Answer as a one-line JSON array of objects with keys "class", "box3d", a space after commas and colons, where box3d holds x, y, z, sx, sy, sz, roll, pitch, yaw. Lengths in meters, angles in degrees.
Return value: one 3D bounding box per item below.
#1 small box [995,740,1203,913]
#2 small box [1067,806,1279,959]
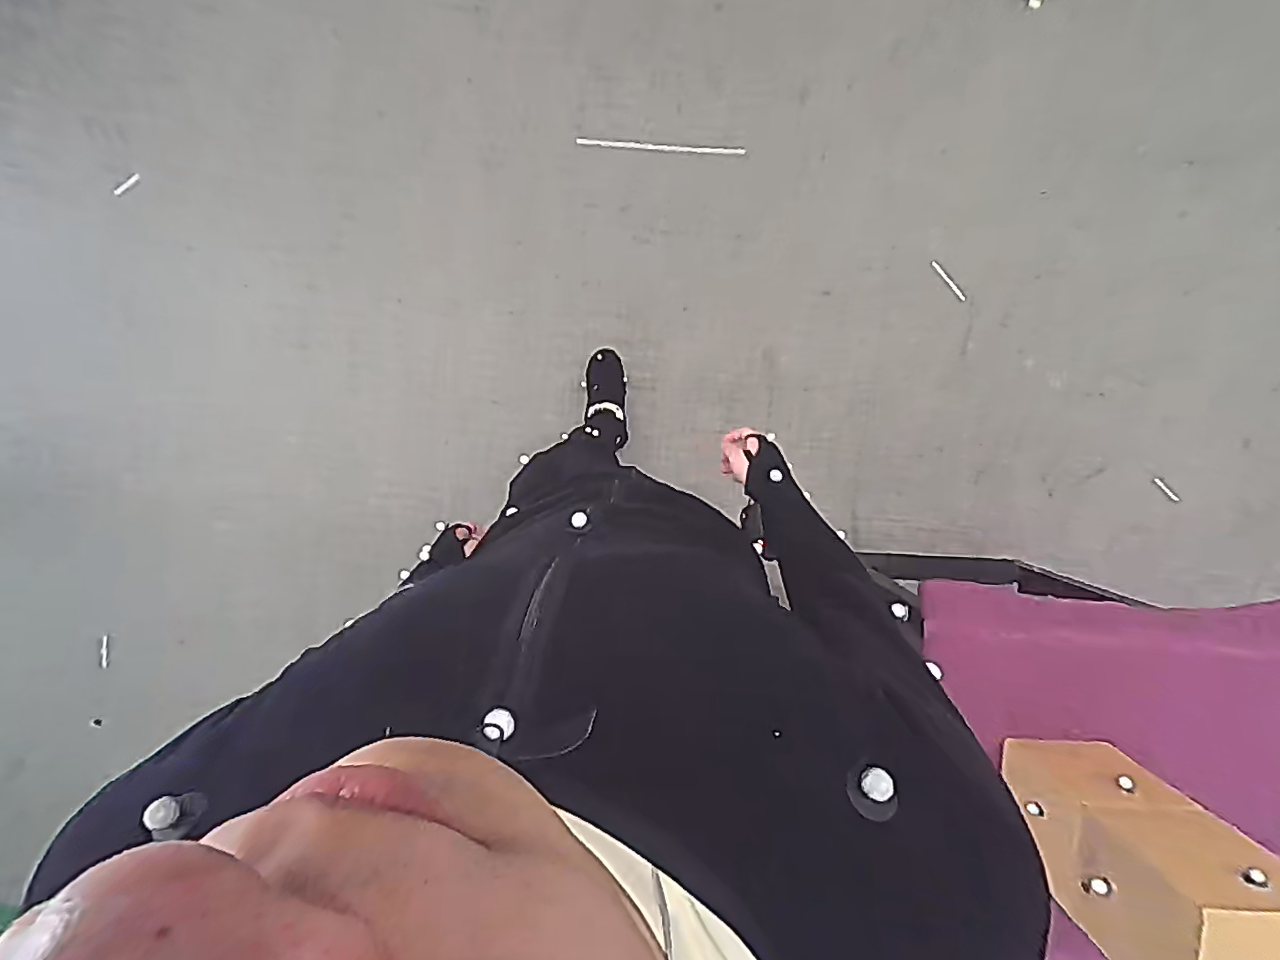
[{"class": "small box", "box3d": [0.682, 0.519, 0.826, 0.179, 0.176, 0.168, 2, 94, 0]}, {"class": "small box", "box3d": [0.681, 0.532, 0.662, 0.179, 0.176, 0.168, 3, 94, 1]}]
